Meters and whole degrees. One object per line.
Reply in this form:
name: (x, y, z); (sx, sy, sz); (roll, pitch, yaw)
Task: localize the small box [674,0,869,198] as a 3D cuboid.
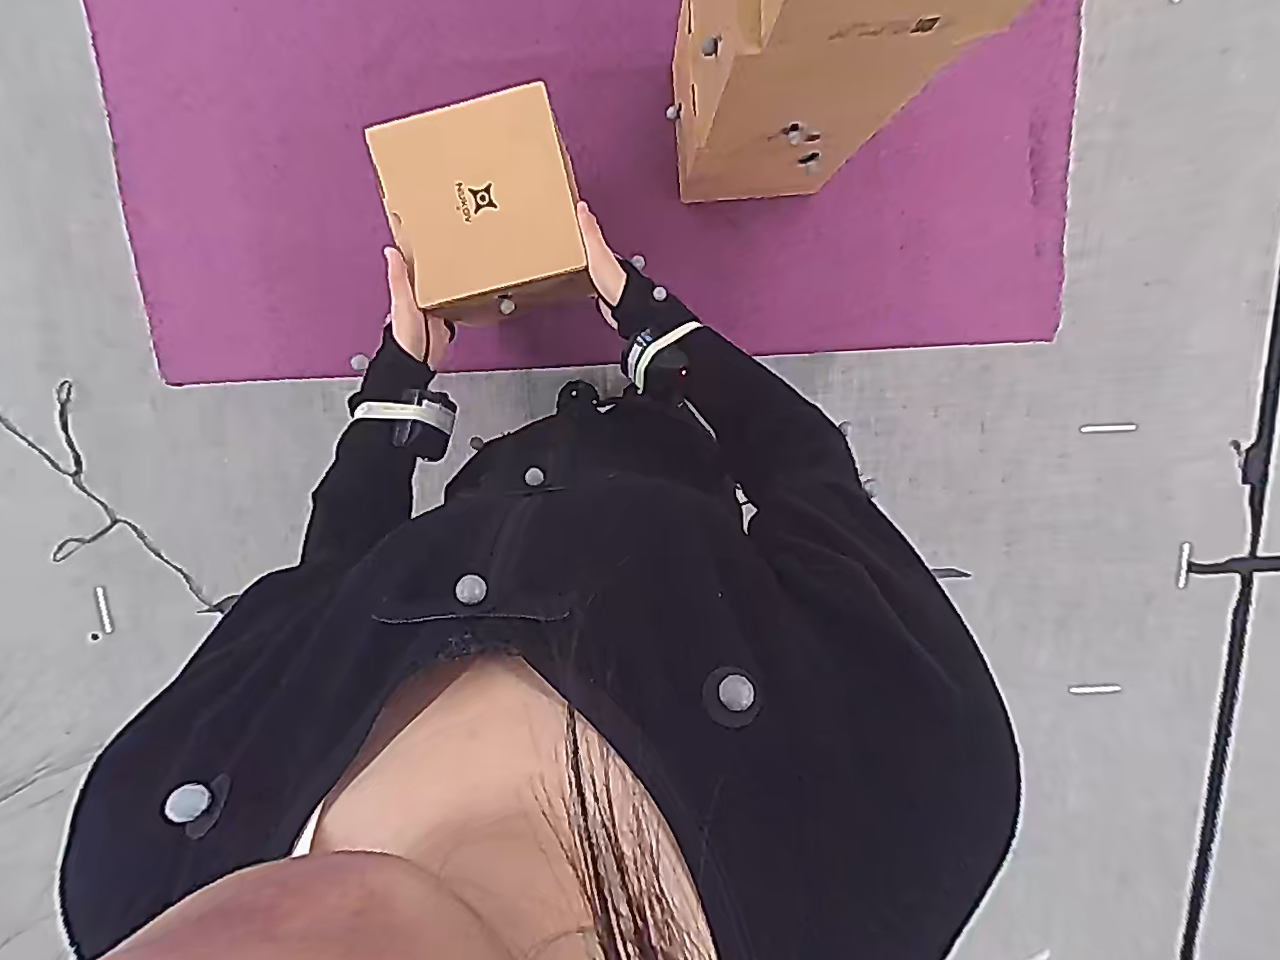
small box: (0.134, -0.432, 0.603); (0.179, 0.176, 0.168); (-4, 100, 0)

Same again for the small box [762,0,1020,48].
small box: (0.160, -0.375, 0.280); (0.168, 0.176, 0.179); (-4, 100, 0)

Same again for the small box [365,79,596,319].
small box: (-0.150, -0.281, 0.582); (0.179, 0.176, 0.168); (-13, 100, 4)
